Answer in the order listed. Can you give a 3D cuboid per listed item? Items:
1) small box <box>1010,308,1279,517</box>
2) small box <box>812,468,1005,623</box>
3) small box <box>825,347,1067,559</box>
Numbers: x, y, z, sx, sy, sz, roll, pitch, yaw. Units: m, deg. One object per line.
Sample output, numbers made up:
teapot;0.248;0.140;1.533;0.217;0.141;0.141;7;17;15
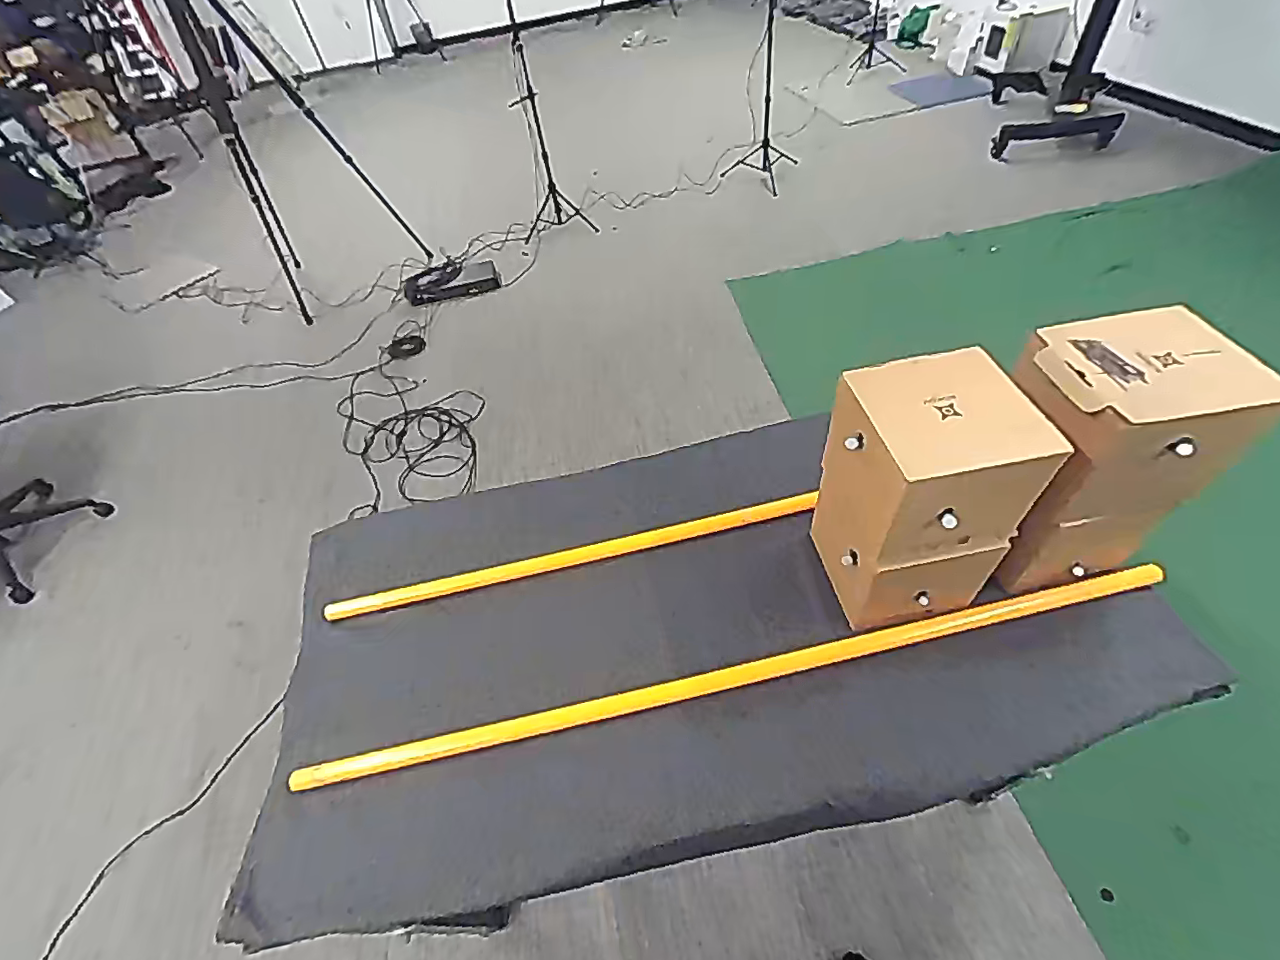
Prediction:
small box;0.556;-0.073;0.635;0.179;0.176;0.168;-9;50;1
small box;0.353;0.084;0.753;0.168;0.176;0.179;-11;49;0
small box;0.332;-0.023;0.633;0.168;0.176;0.179;-11;49;1
